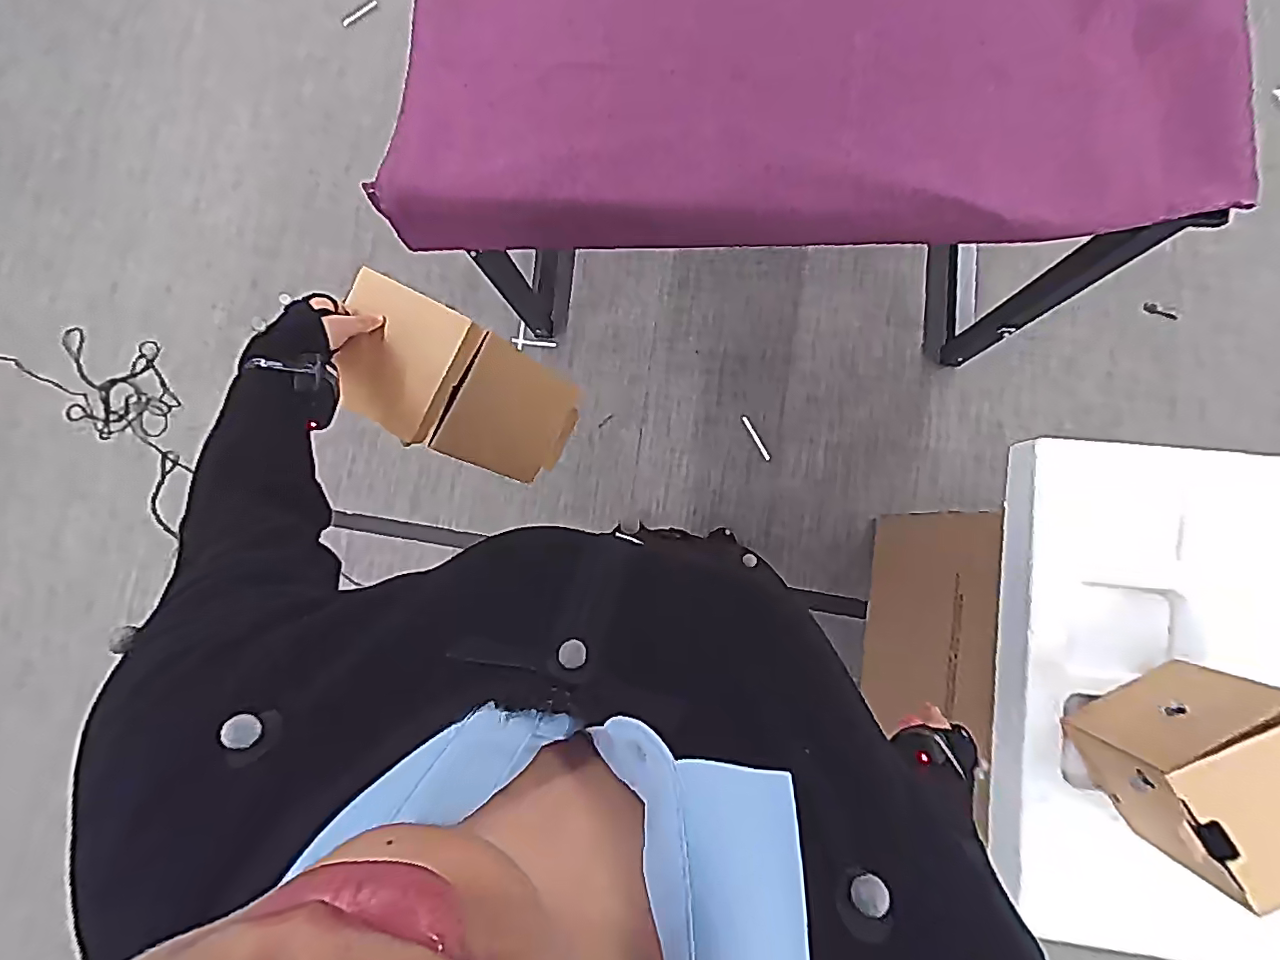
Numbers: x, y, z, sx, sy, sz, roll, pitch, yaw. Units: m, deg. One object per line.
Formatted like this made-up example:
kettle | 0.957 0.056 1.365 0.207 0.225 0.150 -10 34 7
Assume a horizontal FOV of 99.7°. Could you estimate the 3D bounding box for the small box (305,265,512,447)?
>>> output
small box | -0.299 -0.156 0.742 0.179 0.176 0.168 28 91 -1
